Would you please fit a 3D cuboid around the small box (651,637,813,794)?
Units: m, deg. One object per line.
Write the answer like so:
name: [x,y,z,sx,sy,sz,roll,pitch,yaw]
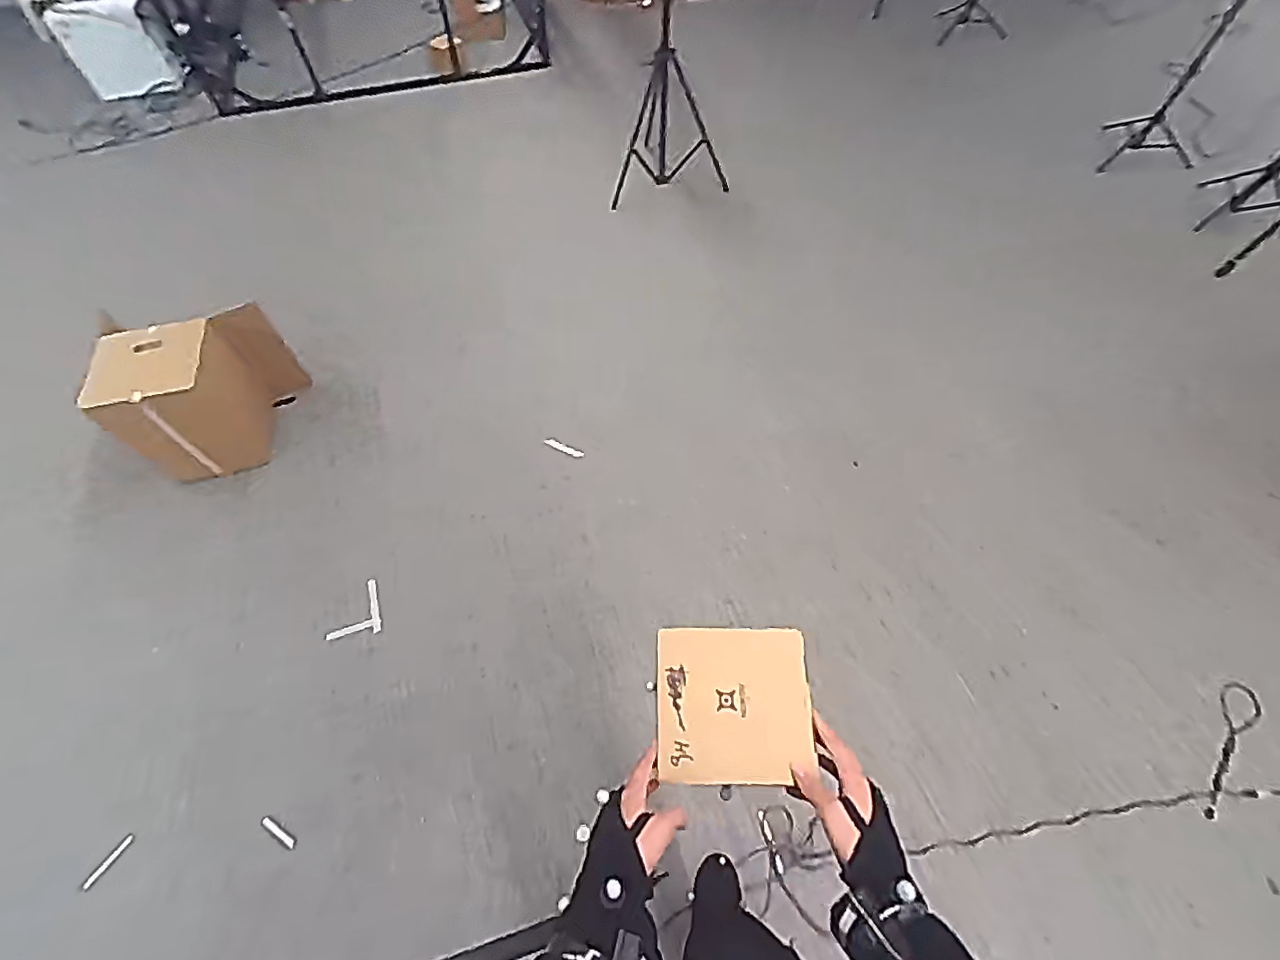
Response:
small box: [0.103,0.302,0.692,0.179,0.176,0.168,0,61,1]
